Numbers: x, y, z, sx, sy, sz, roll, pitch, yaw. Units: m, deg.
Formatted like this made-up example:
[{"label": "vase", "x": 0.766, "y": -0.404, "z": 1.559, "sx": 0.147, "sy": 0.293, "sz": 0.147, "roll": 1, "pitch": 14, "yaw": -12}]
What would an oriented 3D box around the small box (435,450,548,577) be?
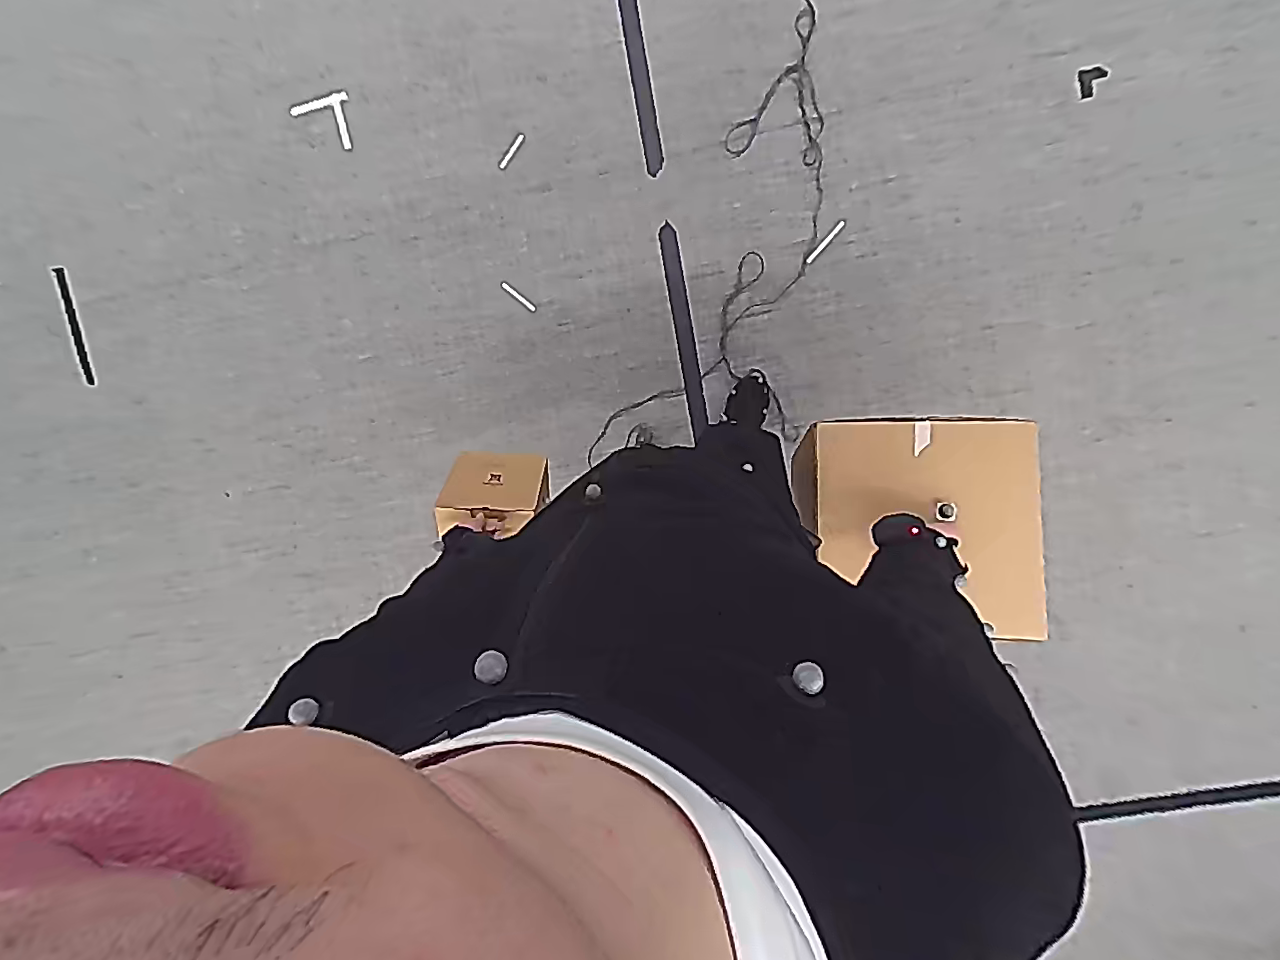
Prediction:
[{"label": "small box", "x": -0.264, "y": 0.064, "z": 1.008, "sx": 0.168, "sy": 0.179, "sz": 0.176, "roll": 3, "pitch": 126, "yaw": -4}]
